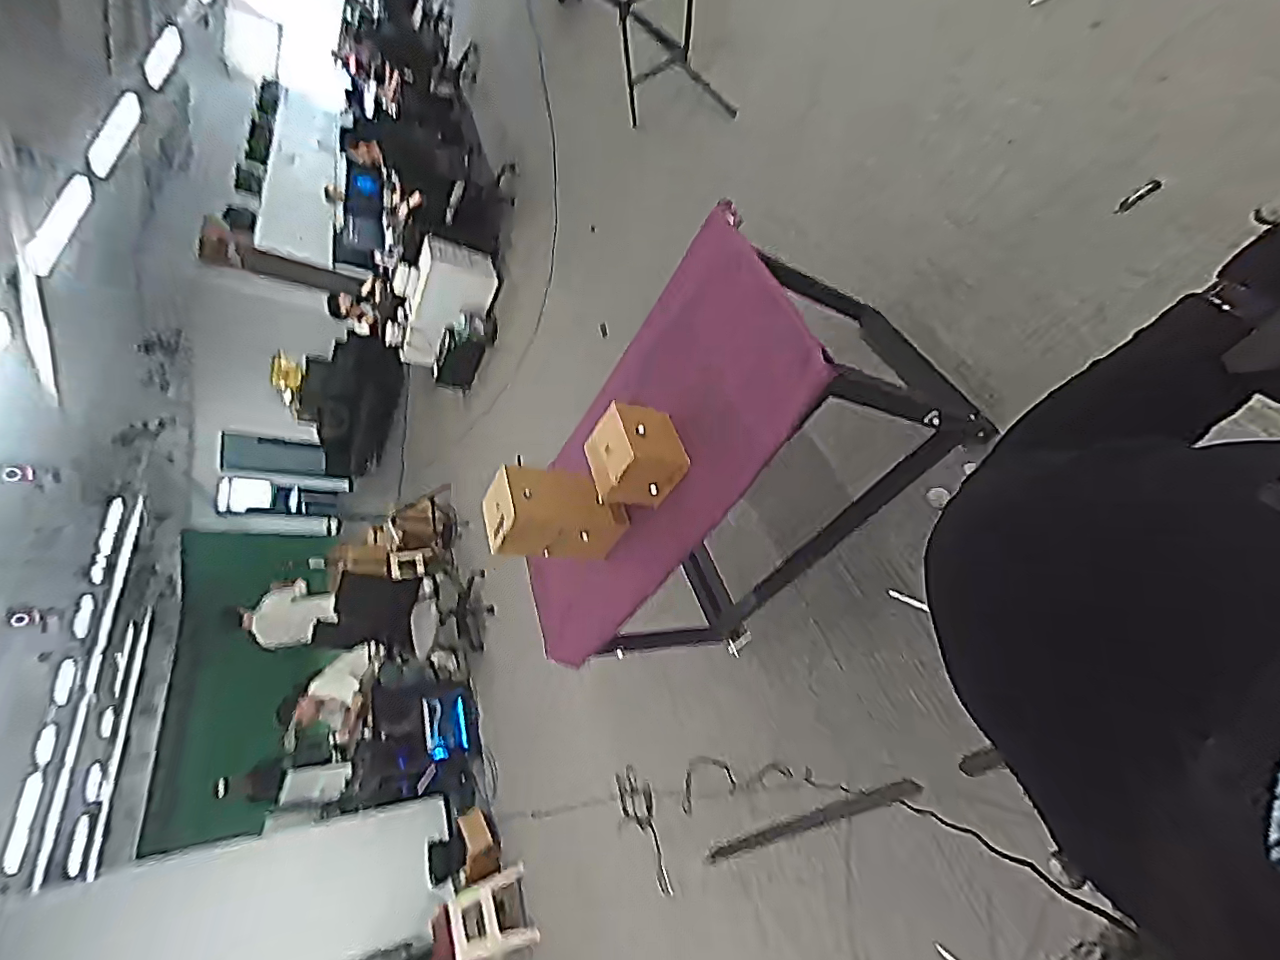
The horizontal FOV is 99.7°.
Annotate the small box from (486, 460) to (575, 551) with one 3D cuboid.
[{"bbox_3d":[-0.287,0.069,1.415,0.168,0.176,0.179,-52,45,36],"label":"small box"}]

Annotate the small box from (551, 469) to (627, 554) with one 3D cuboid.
[{"bbox_3d":[-0.151,0.092,1.506,0.179,0.176,0.168,-51,46,37],"label":"small box"}]

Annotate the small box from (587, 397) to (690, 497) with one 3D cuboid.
[{"bbox_3d":[-0.005,-0.074,1.330,0.168,0.176,0.179,-51,46,37],"label":"small box"}]
